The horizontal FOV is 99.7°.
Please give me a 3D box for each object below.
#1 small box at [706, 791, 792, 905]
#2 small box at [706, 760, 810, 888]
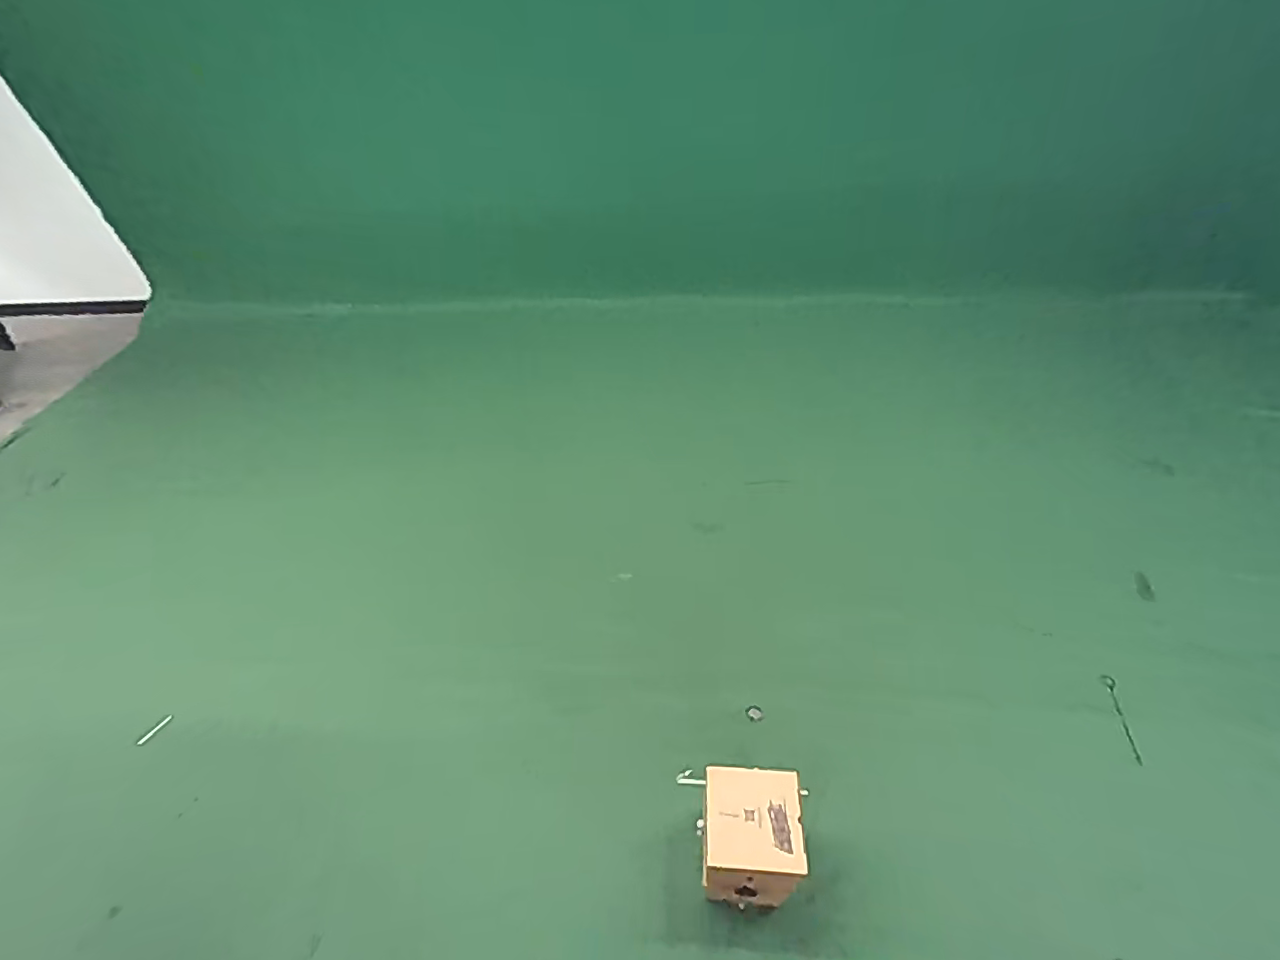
[{"bbox_3d":[0.227,0.787,1.165,0.168,0.176,0.179,0,46,7],"label":"small box"},{"bbox_3d":[0.222,0.668,1.047,0.179,0.176,0.168,3,44,8],"label":"small box"}]
